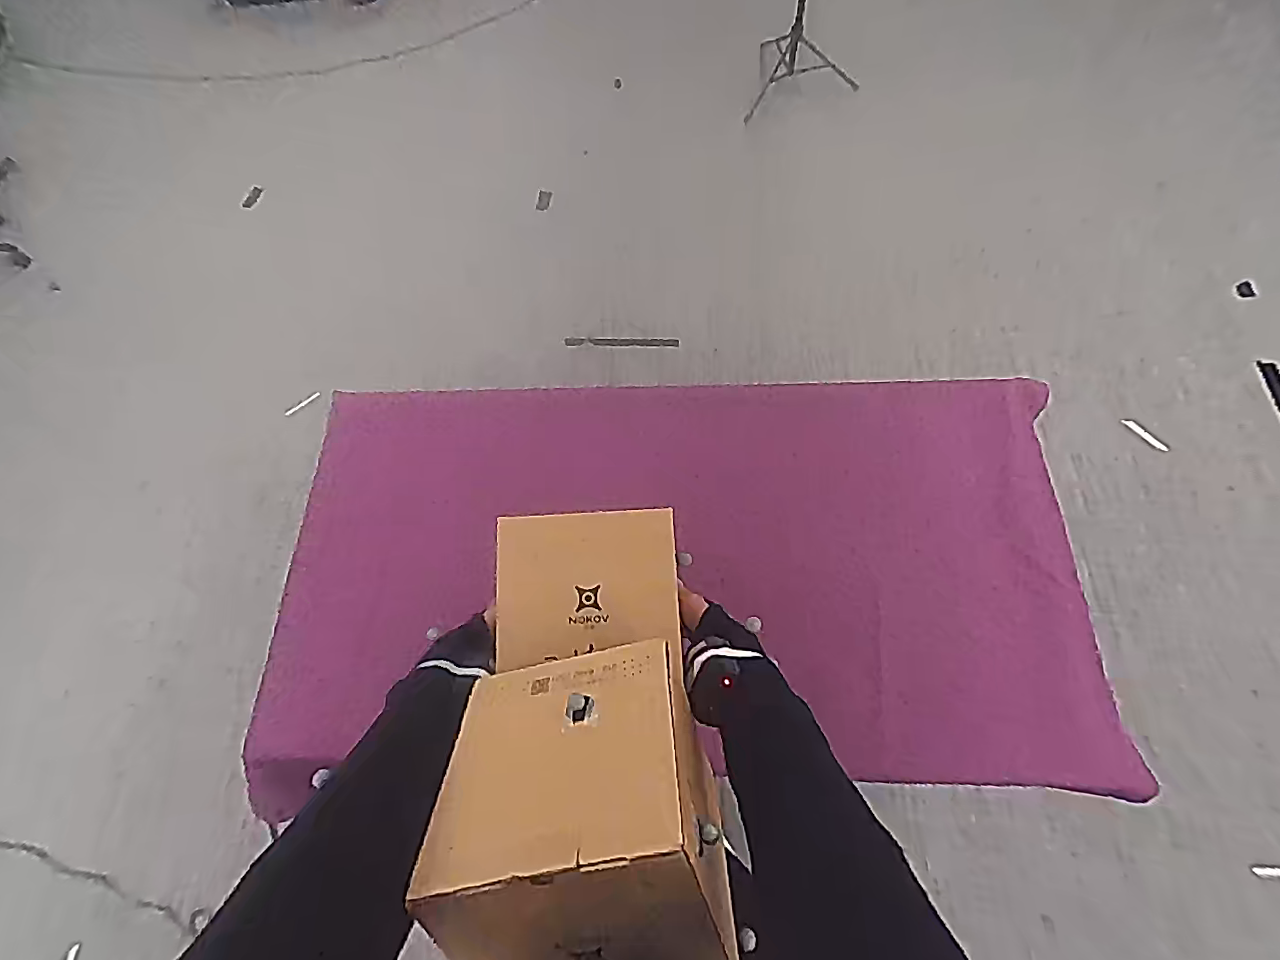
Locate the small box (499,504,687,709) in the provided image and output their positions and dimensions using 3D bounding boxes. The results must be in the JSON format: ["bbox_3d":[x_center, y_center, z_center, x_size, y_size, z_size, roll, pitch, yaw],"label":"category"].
[{"bbox_3d":[-0.042,0.129,0.562,0.168,0.176,0.179,-3,77,1],"label":"small box"}]
